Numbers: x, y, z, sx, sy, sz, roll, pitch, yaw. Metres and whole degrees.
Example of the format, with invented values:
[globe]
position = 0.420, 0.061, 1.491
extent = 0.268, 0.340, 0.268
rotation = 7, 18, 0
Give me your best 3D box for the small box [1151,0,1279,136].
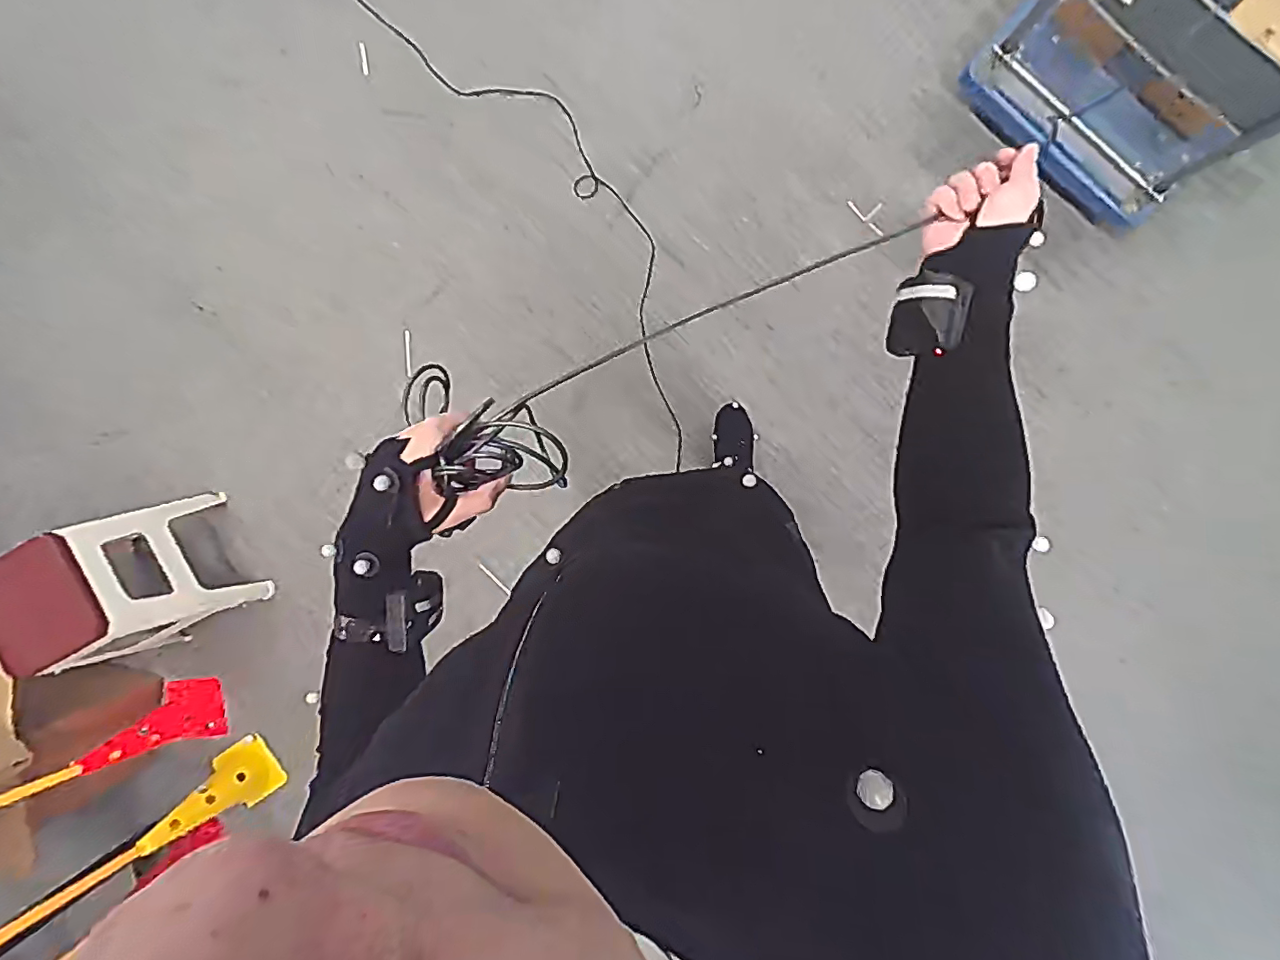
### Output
[small box]
position = 1.305, -0.915, 1.185
extent = 0.168, 0.176, 0.179
rotation = 45, 97, 2
